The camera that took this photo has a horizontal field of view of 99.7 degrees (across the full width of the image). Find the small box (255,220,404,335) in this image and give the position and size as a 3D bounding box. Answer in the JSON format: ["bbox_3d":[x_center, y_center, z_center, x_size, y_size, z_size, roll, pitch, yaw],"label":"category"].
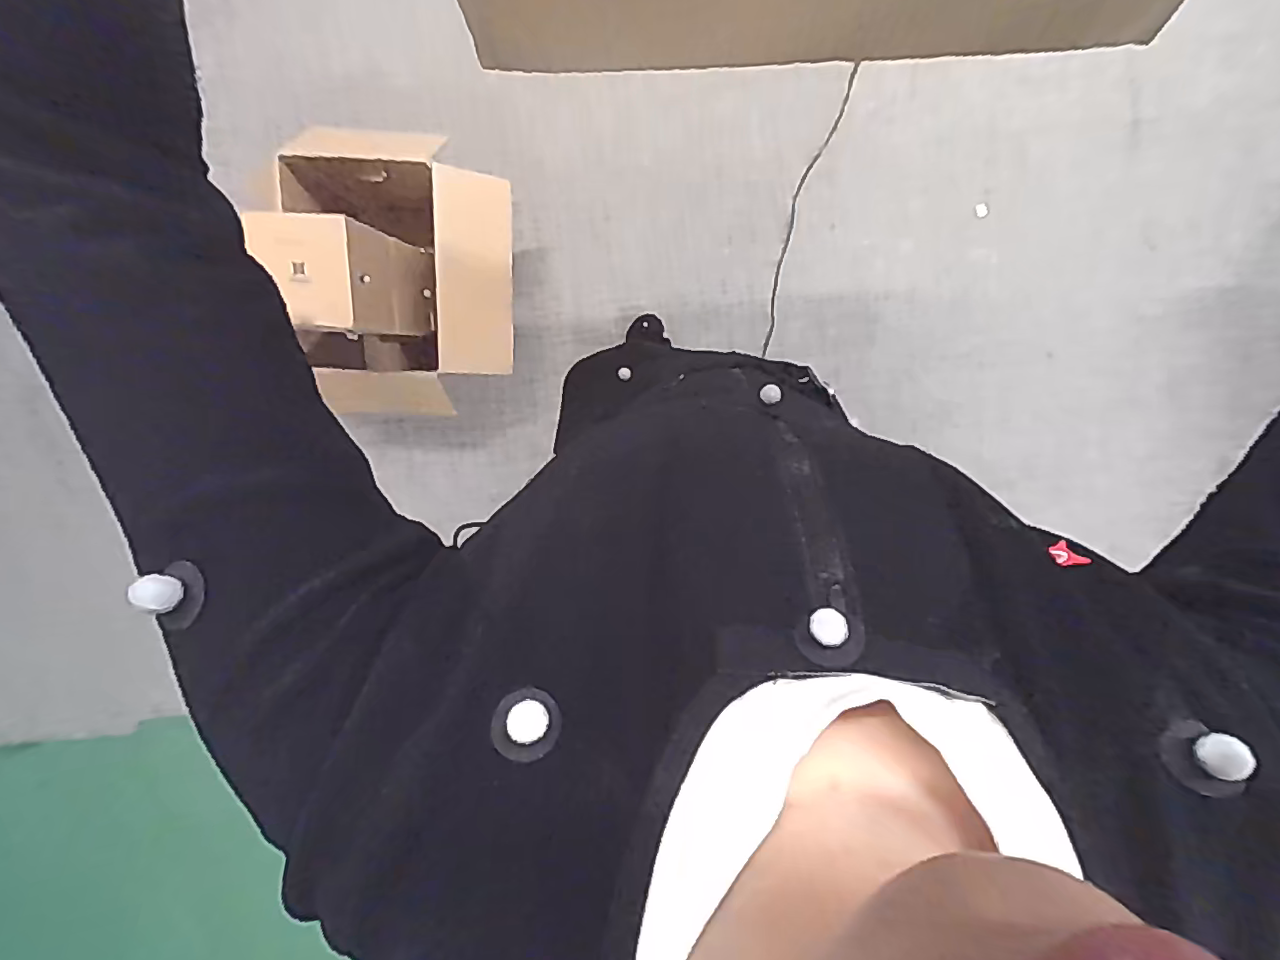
[{"bbox_3d":[-0.539,-0.351,0.965,0.168,0.176,0.179,0,103,0],"label":"small box"}]
